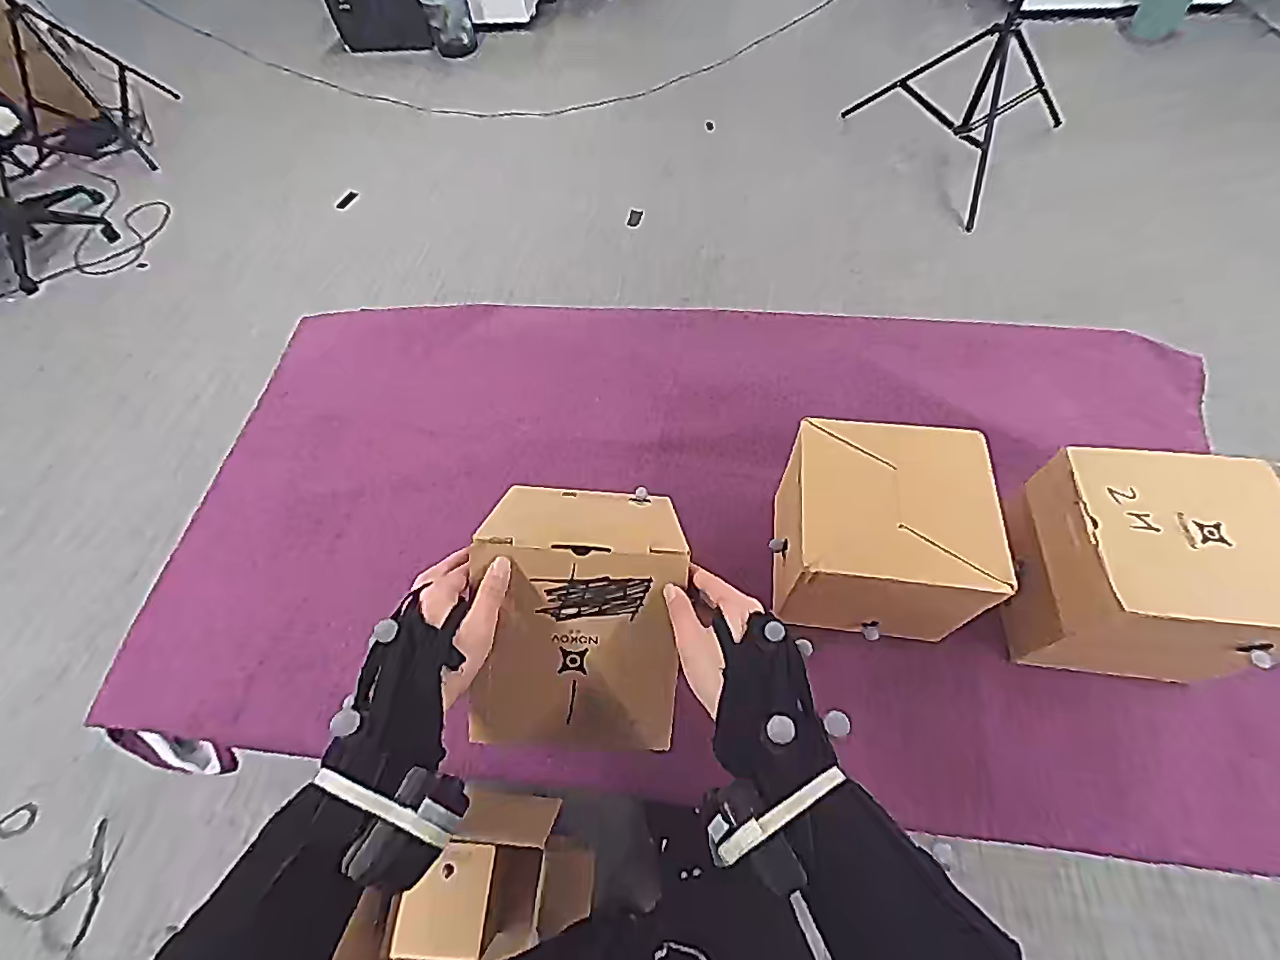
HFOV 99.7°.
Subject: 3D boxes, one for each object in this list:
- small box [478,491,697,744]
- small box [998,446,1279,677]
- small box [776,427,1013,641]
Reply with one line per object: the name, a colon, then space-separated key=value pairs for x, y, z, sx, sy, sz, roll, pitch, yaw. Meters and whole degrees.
small box: x=-0.047 y=0.113 z=0.506 sx=0.168 sy=0.176 sz=0.179 roll=4 pitch=102 yaw=-3
small box: x=0.485 y=0.087 z=0.535 sx=0.179 sy=0.176 sz=0.168 roll=5 pitch=58 yaw=7
small box: x=0.244 y=0.058 z=0.570 sx=0.179 sy=0.176 sz=0.168 roll=4 pitch=59 yaw=8
